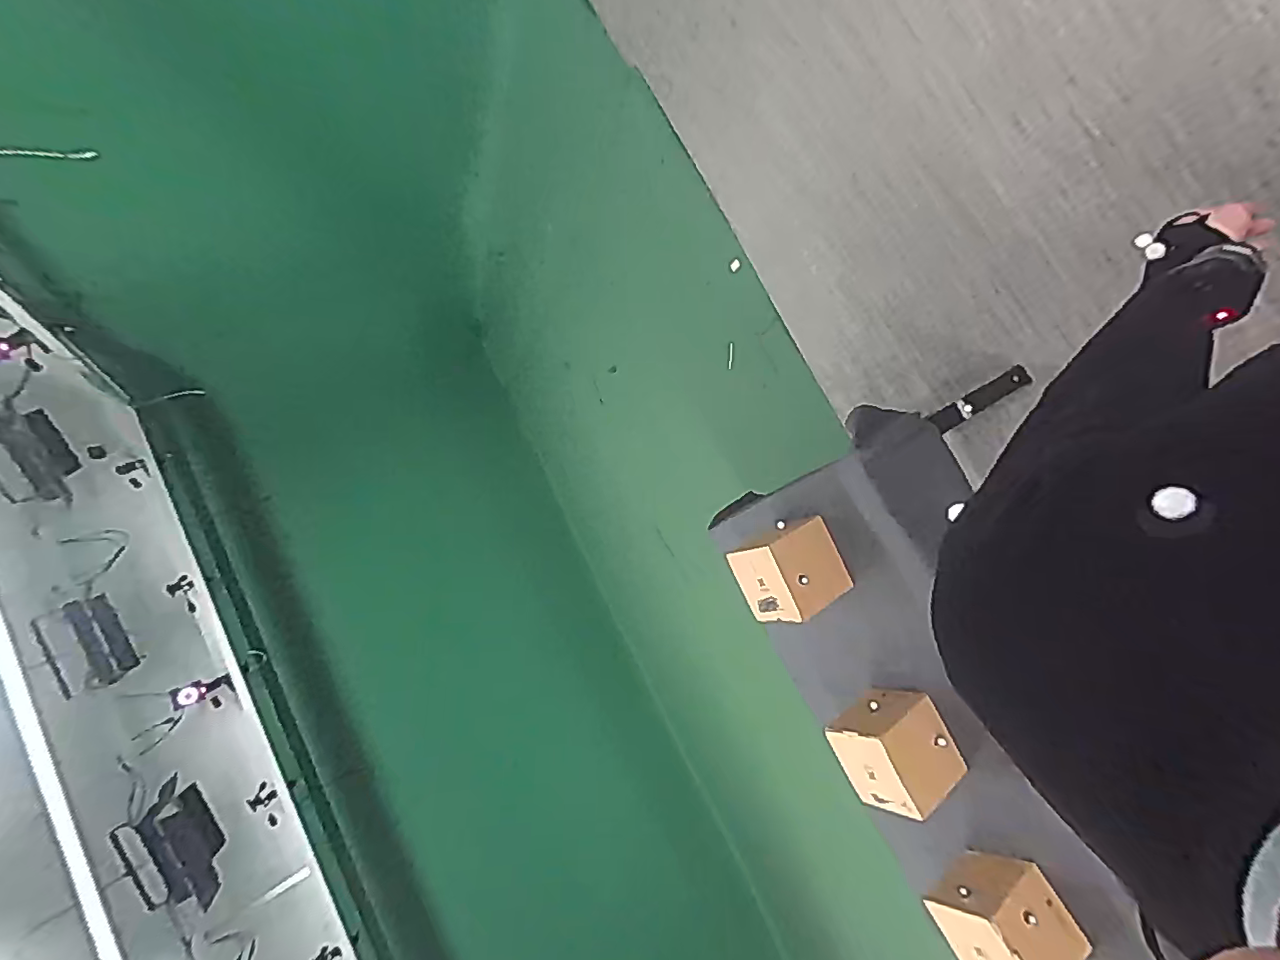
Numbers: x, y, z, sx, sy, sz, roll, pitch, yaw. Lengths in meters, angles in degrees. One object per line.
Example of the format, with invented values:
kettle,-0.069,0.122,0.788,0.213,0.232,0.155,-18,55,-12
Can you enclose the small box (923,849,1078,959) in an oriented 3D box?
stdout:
small box,0.727,0.883,1.086,0.168,0.176,0.179,60,154,16

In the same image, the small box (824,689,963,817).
small box,0.543,0.571,1.163,0.179,0.176,0.168,64,153,6

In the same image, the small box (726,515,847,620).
small box,0.334,0.199,1.231,0.179,0.176,0.168,65,153,2
